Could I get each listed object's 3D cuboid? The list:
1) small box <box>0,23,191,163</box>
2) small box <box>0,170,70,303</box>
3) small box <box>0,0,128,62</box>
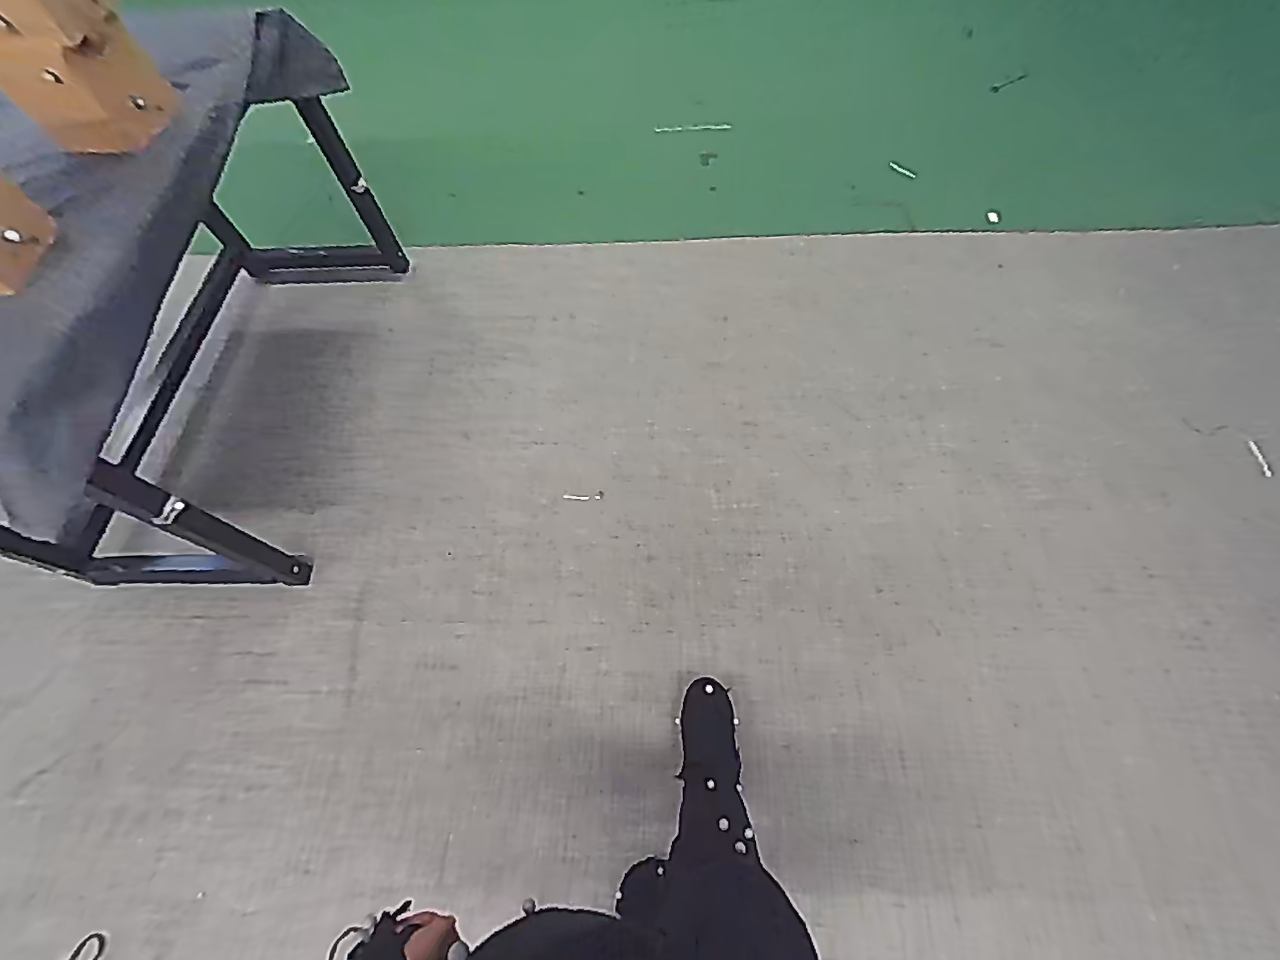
[{"bbox_3d":[-1.019,-0.723,1.016,0.179,0.176,0.168,3,62,5],"label":"small box"},{"bbox_3d":[-1.079,-0.392,0.840,0.179,0.176,0.168,-3,62,2],"label":"small box"},{"bbox_3d":[-1.009,-0.813,0.877,0.179,0.176,0.168,0,62,3],"label":"small box"}]
